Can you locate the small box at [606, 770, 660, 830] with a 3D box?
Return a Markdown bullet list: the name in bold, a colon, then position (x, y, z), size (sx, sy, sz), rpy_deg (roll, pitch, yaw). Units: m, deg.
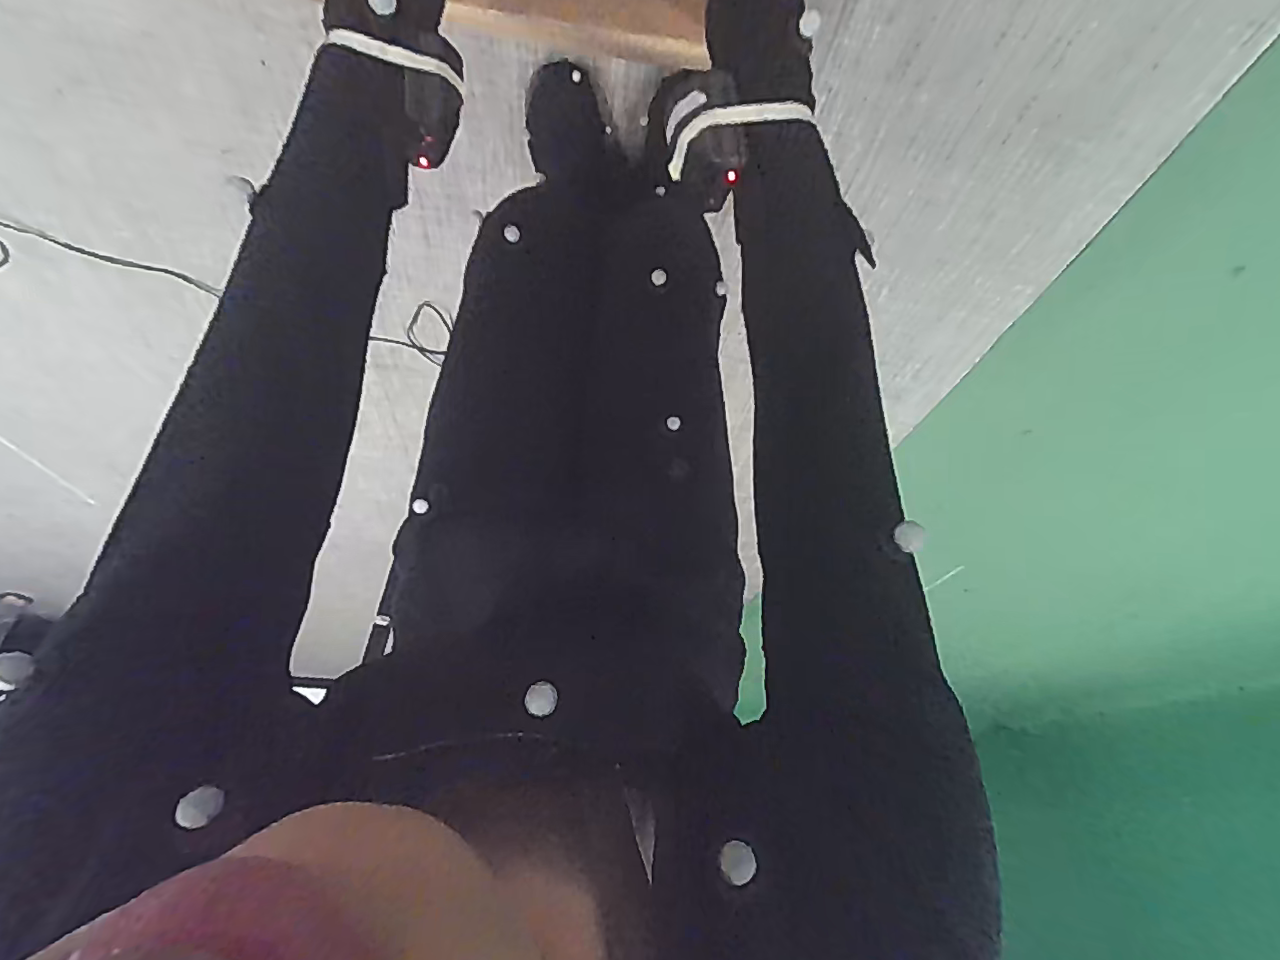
- **small box**: position (-0.023, 1.094, 1.851), size (0.168, 0.176, 0.179), rpy_deg (6, 148, -4)
